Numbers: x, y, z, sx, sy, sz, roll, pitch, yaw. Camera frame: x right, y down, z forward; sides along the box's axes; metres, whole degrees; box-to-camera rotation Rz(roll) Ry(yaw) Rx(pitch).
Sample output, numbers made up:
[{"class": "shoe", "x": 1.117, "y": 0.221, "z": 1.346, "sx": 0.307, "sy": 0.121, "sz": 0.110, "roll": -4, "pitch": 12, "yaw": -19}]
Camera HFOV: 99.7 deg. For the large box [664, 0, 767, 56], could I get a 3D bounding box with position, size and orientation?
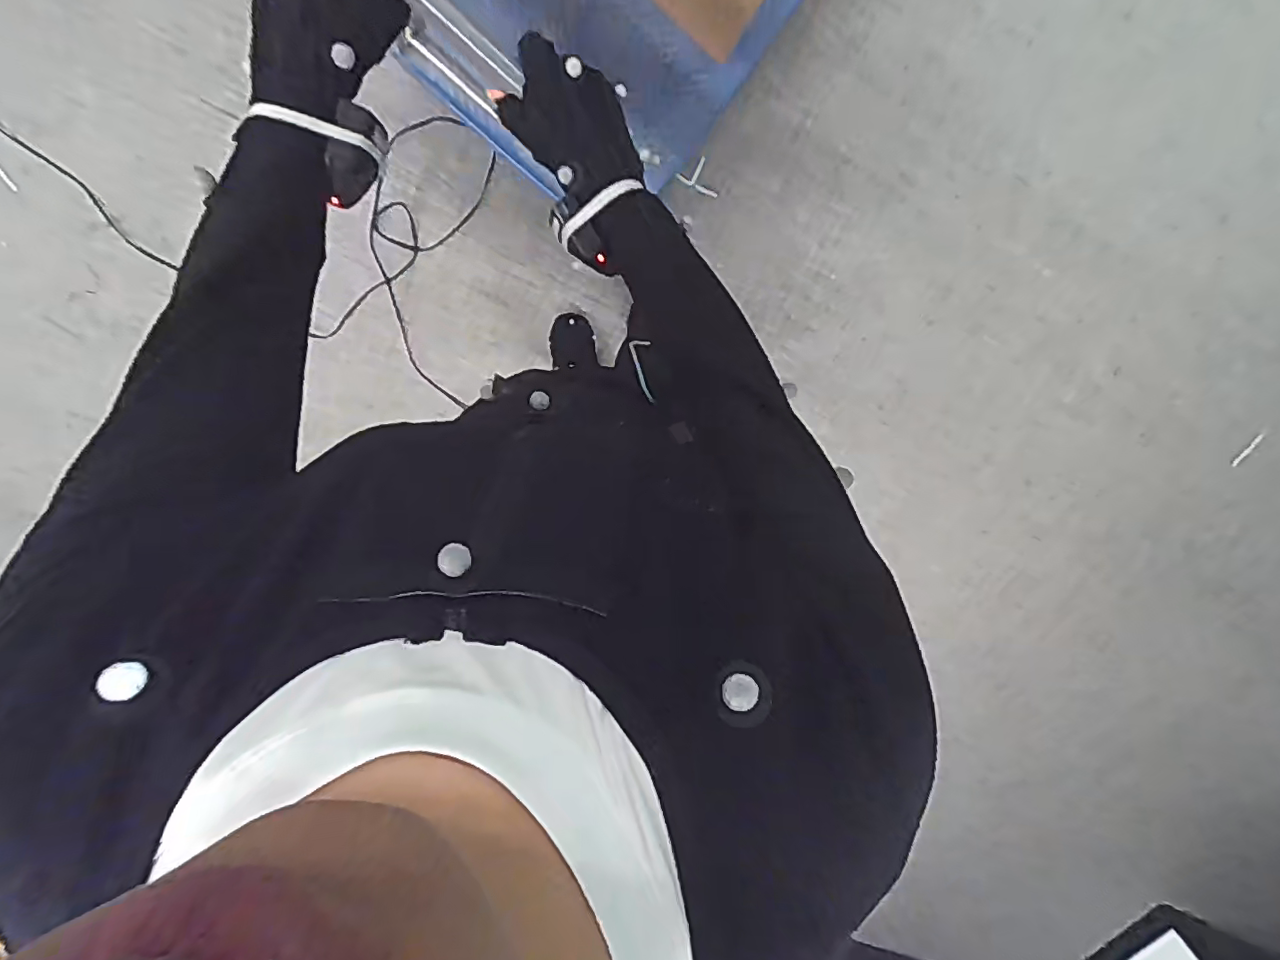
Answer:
[{"class": "large box", "x": 0.095, "y": -0.953, "z": 0.791, "sx": 0.408, "sy": 0.320, "sz": 0.320, "roll": 35, "pitch": 107, "yaw": -14}]
